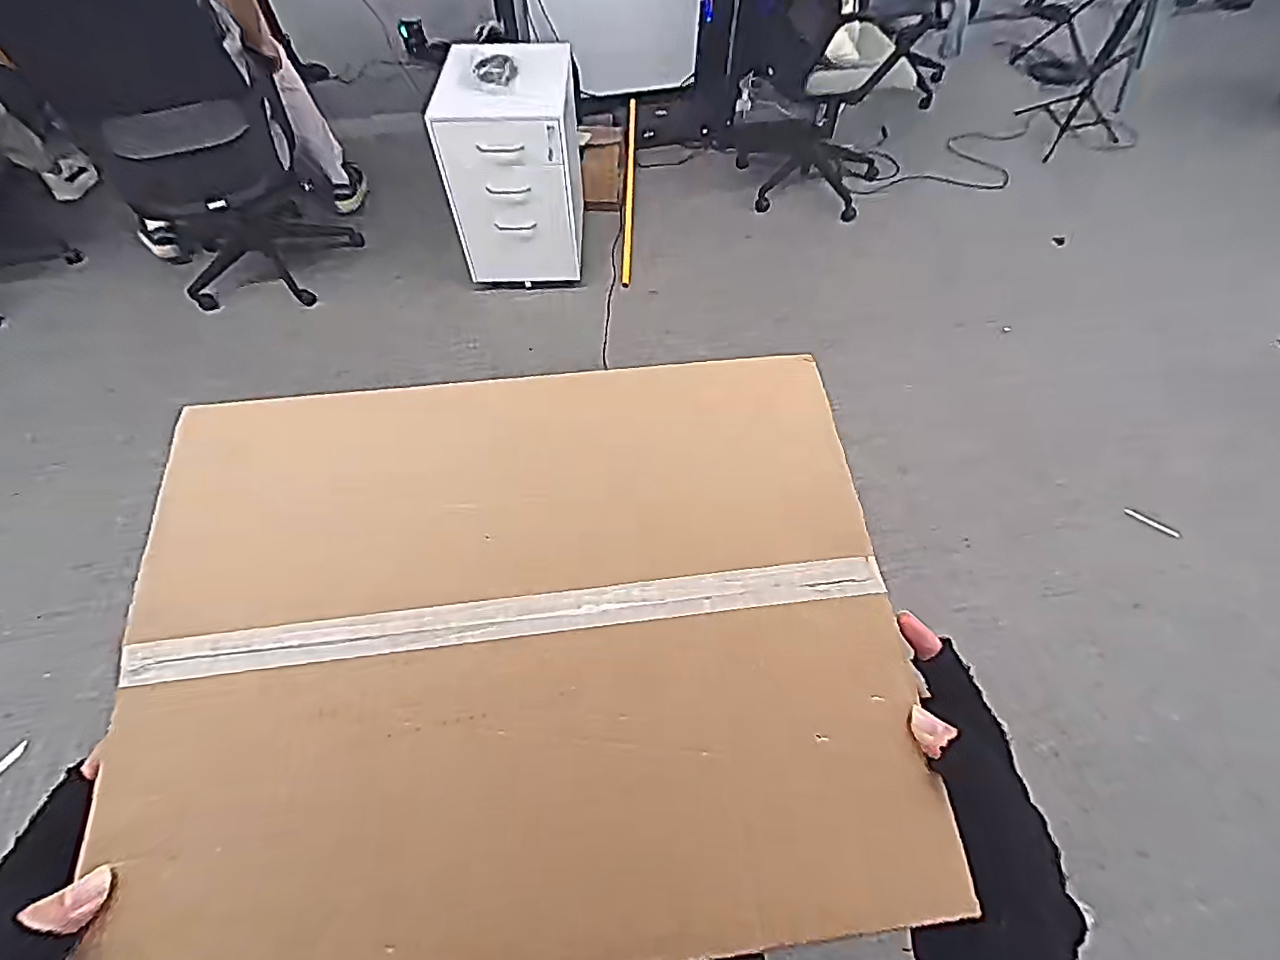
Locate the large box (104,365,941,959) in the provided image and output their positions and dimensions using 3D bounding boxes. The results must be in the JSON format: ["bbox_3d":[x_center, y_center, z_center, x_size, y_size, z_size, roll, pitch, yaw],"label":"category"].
[{"bbox_3d":[-0.069,0.138,0.447,0.408,0.320,0.320,-6,68,-4],"label":"large box"}]
